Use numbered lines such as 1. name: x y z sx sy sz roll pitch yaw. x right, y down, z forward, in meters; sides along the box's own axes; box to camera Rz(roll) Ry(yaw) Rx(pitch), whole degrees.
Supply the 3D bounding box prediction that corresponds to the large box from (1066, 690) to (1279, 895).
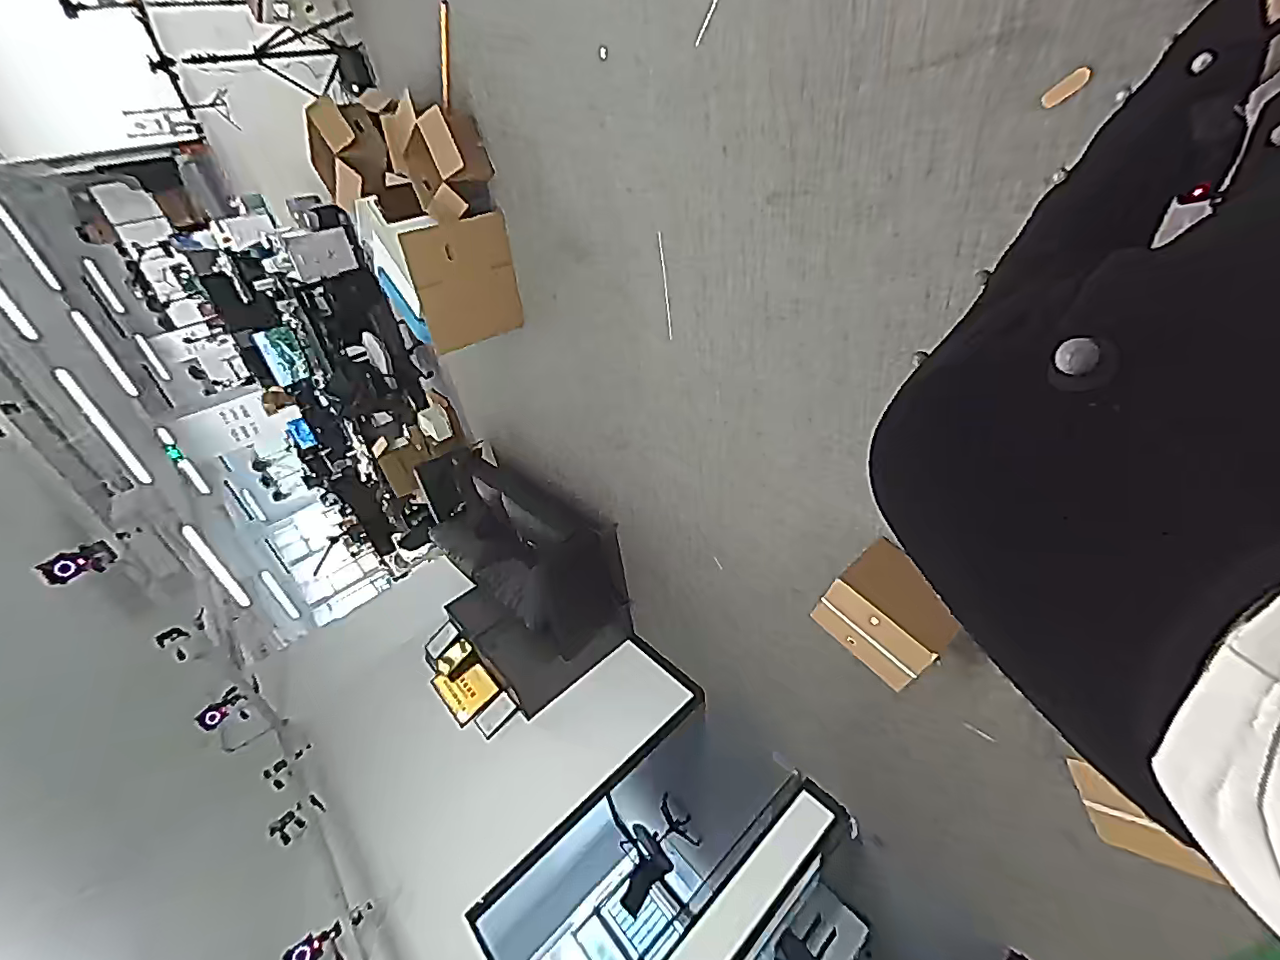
1. large box: 1.537 0.847 1.528 0.408 0.320 0.320 -15 105 58
